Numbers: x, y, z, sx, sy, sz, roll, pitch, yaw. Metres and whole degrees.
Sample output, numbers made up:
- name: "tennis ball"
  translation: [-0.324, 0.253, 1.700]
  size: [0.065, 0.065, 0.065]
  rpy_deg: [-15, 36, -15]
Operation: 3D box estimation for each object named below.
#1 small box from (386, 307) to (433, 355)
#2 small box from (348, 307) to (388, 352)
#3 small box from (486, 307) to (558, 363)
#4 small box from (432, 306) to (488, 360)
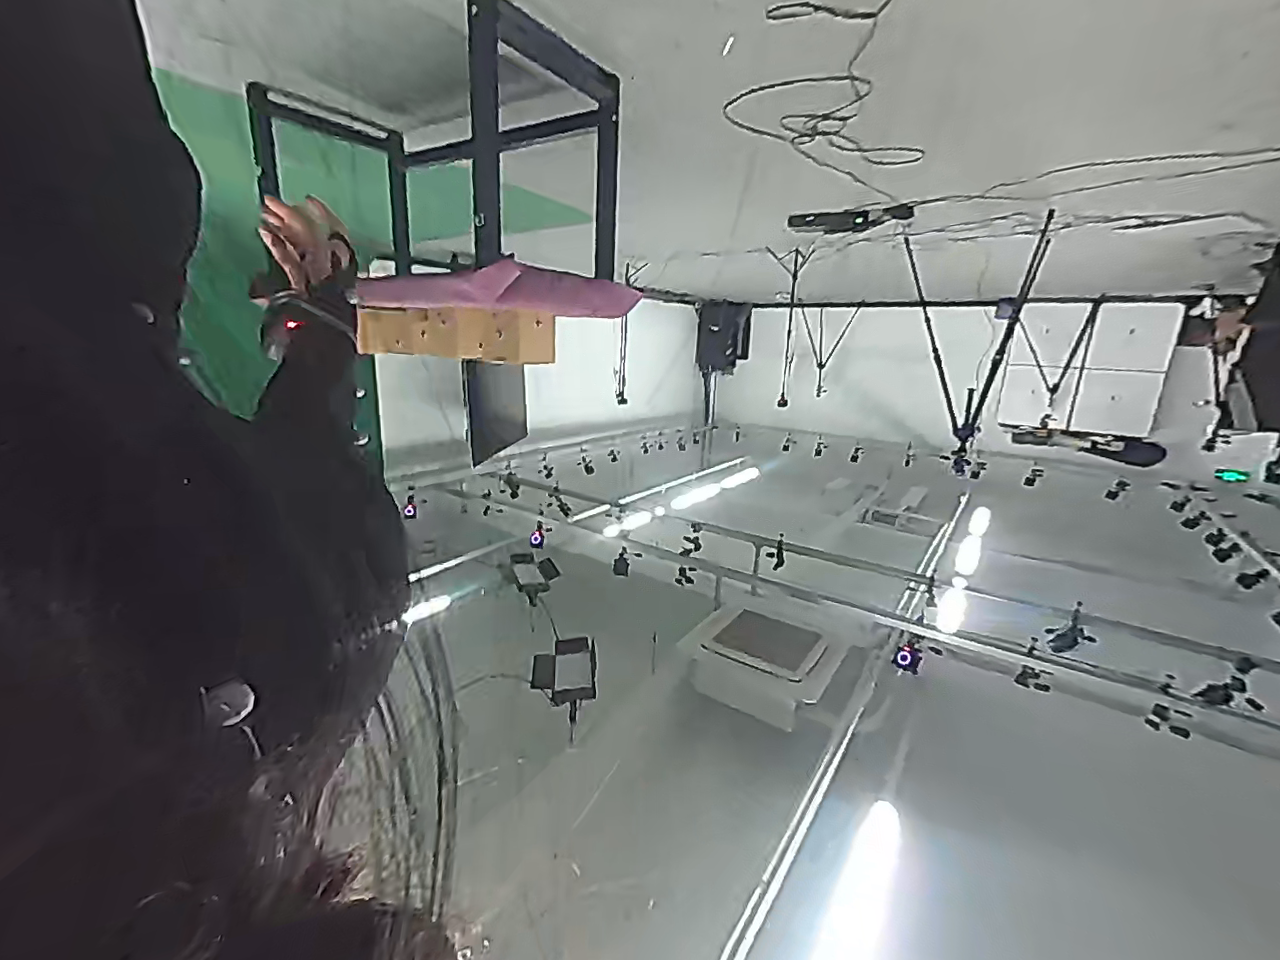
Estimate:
- name: "small box"
  translation: [-0.835, -0.560, 2.033]
  size: [0.179, 0.176, 0.168]
  rpy_deg: [10, -165, 28]
- name: "small box"
  translation: [-1.057, -0.600, 2.160]
  size: [0.168, 0.176, 0.179]
  rpy_deg: [-9, -162, -35]
- name: "small box"
  translation: [-0.387, -0.474, 1.769]
  size: [0.168, 0.176, 0.179]
  rpy_deg: [11, -164, 30]
- name: "small box"
  translation: [-0.612, -0.518, 1.908]
  size: [0.168, 0.176, 0.179]
  rpy_deg: [12, -164, 35]
